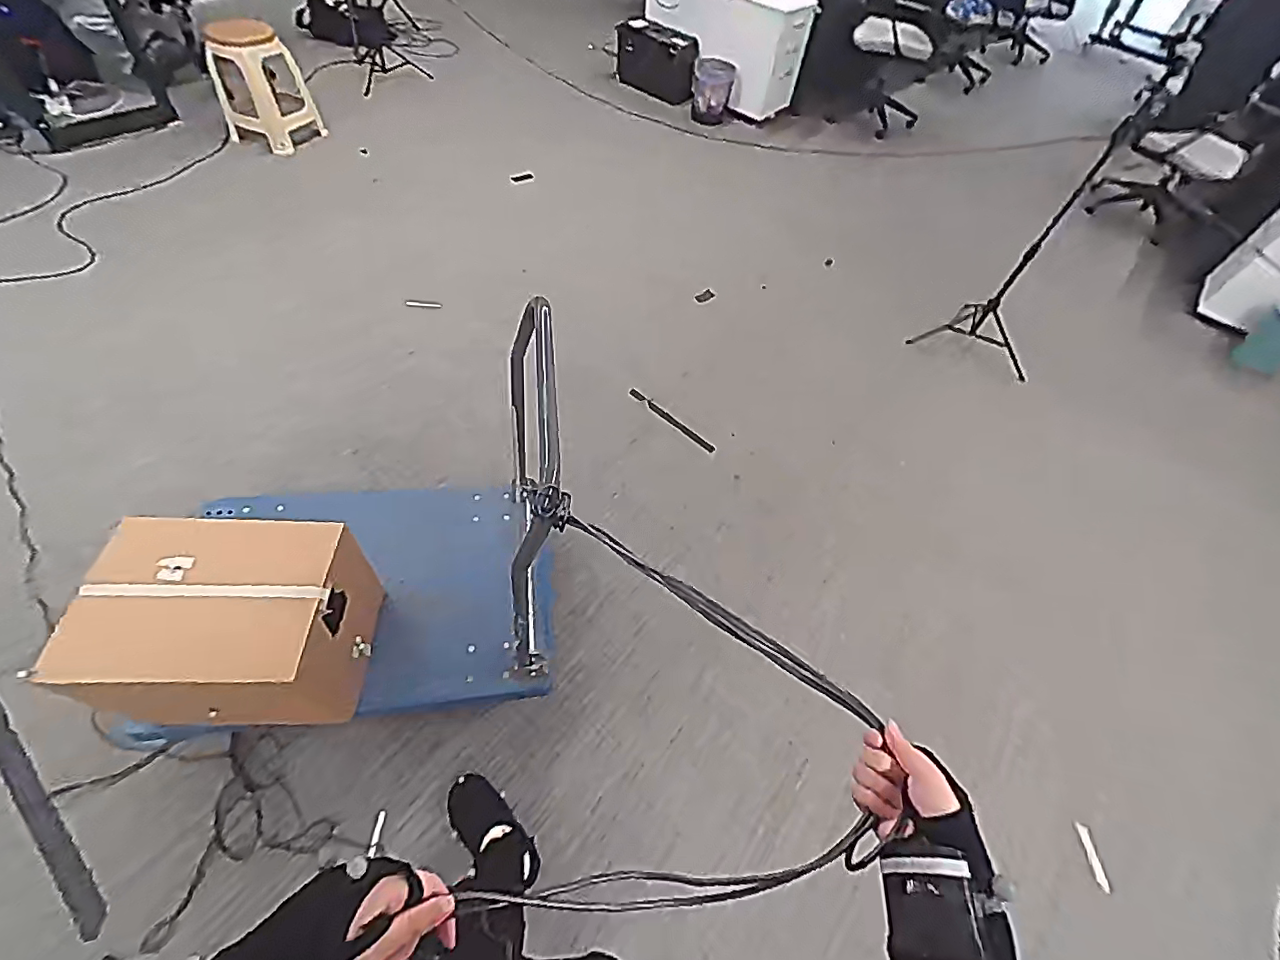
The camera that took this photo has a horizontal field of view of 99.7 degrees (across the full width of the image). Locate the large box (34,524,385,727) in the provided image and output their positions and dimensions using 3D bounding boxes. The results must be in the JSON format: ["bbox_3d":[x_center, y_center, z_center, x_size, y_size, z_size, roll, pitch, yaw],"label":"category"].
[{"bbox_3d":[-0.786,0.297,1.083,0.408,0.320,0.320,1,53,-6],"label":"large box"}]
